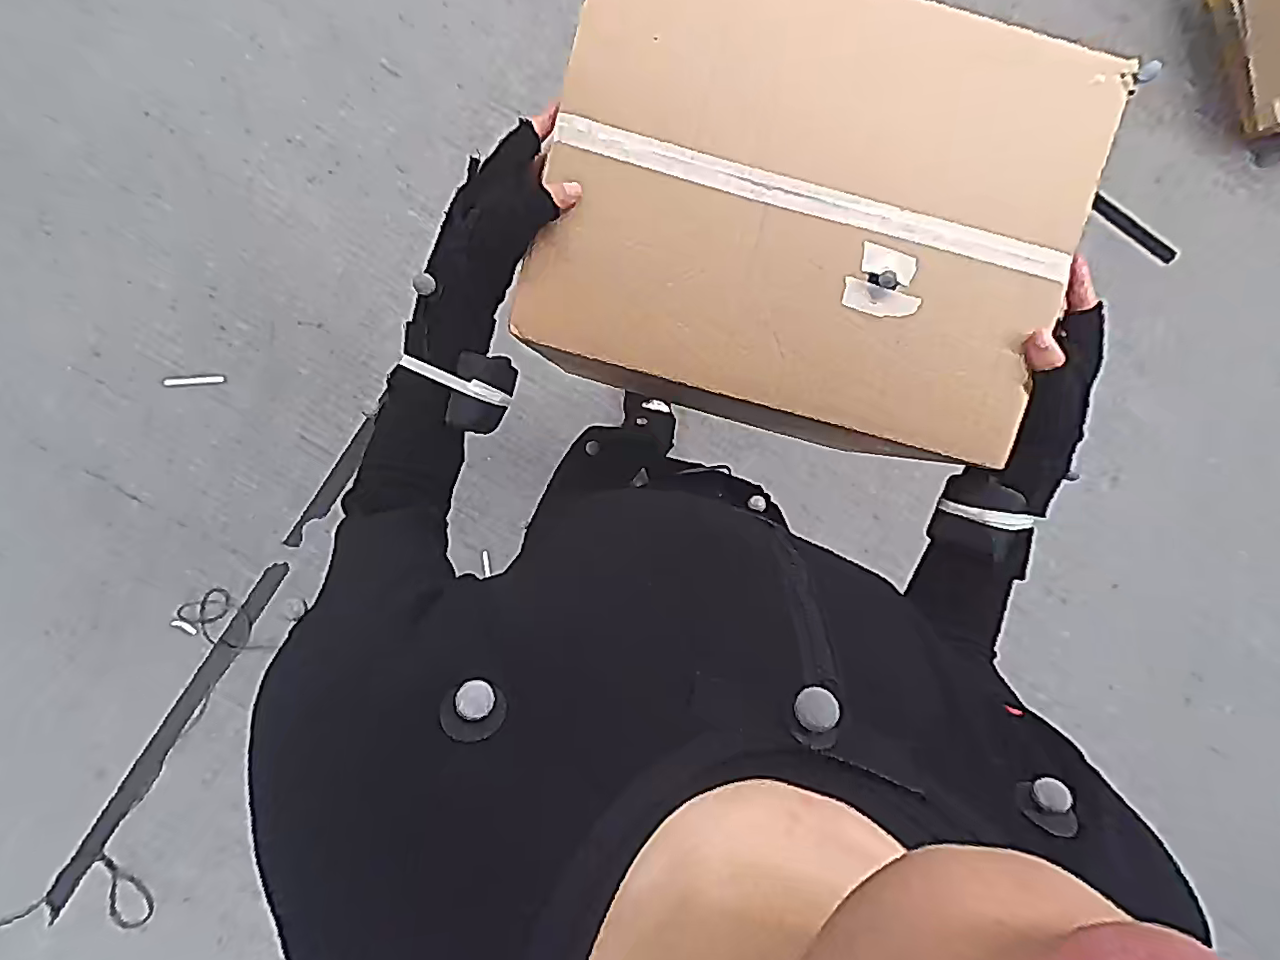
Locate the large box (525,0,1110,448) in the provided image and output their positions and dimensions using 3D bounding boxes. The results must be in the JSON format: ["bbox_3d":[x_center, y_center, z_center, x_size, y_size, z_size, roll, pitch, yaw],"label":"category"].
[{"bbox_3d":[0.132,-0.237,0.571,0.408,0.320,0.320,16,97,-3],"label":"large box"}]
